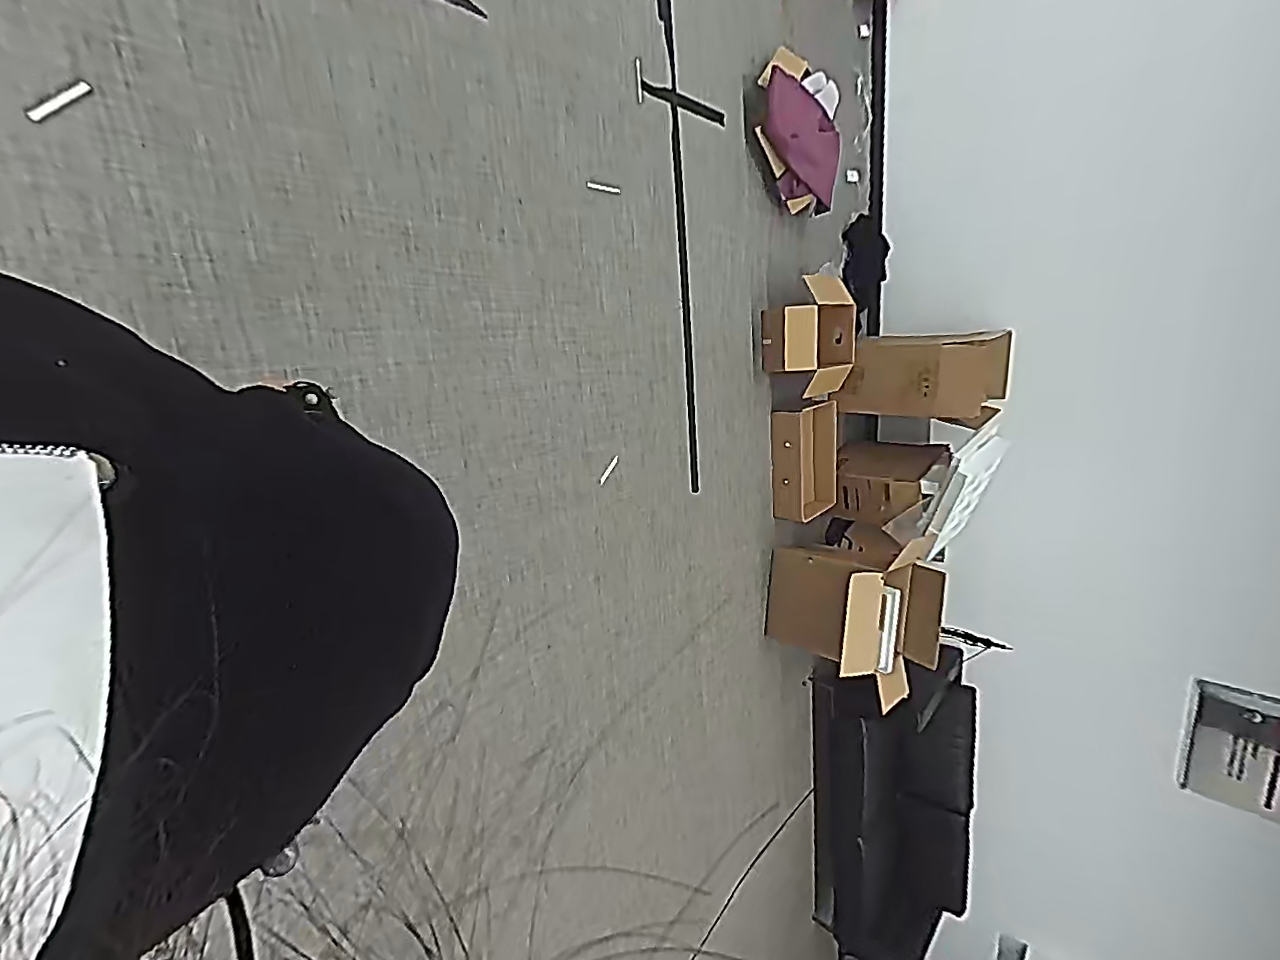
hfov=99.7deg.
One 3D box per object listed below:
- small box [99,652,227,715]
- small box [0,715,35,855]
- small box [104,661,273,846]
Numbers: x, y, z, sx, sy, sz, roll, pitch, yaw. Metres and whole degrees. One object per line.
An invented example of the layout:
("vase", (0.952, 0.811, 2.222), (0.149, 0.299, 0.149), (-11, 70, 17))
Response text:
("small box", (-0.855, 0.407, 0.994), (0.168, 0.176, 0.179), (-20, 111, -43))
("small box", (-1.049, 0.480, 0.805), (0.179, 0.176, 0.168), (-18, 109, -44))
("small box", (-0.735, 0.431, 0.884), (0.168, 0.176, 0.179), (-22, 112, -42))
